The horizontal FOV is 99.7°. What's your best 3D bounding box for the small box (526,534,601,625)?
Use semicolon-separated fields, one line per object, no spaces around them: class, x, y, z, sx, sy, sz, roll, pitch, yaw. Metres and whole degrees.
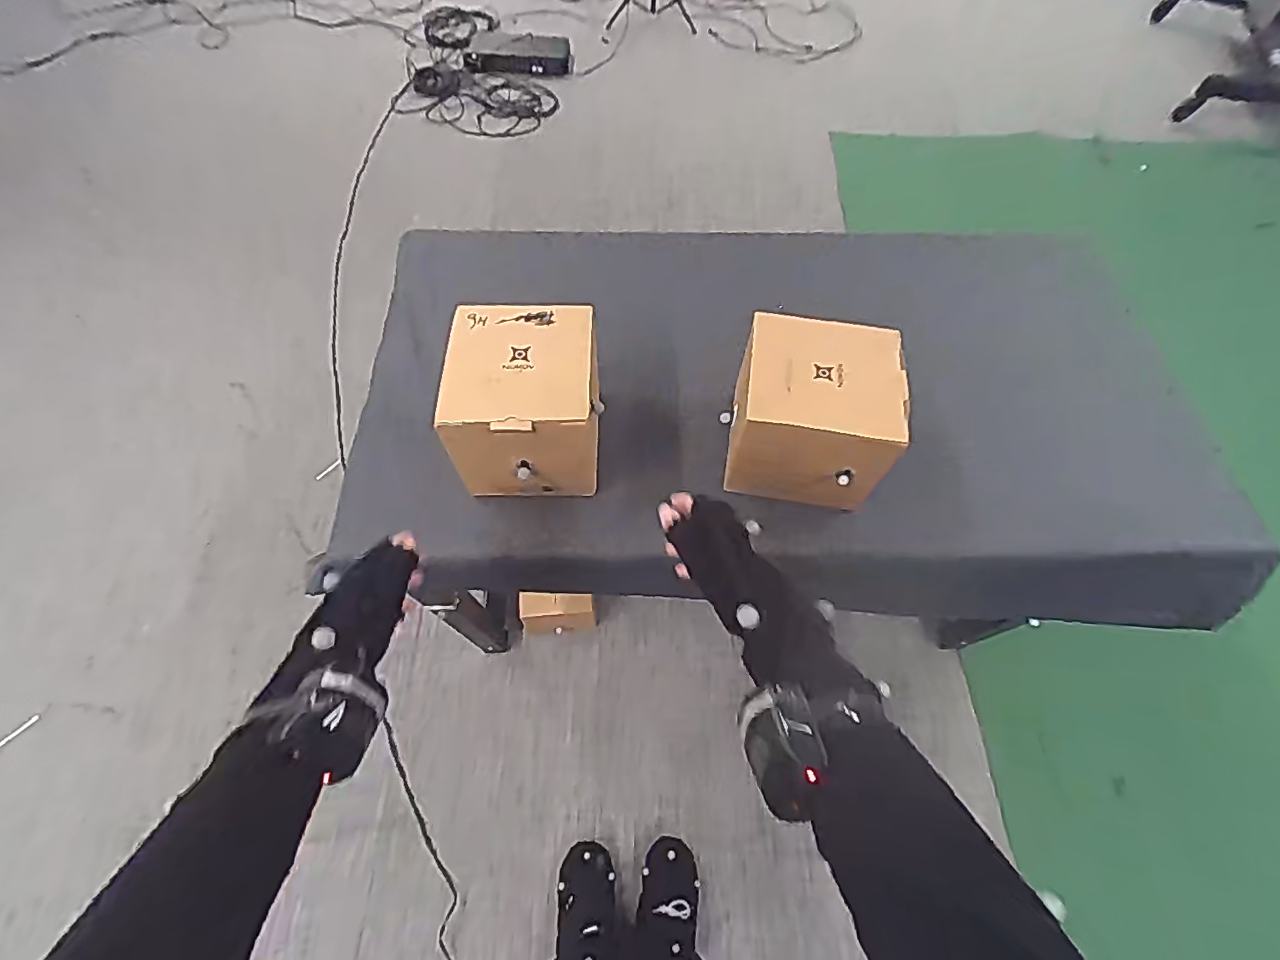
small box;-0.184;0.247;1.330;0.168;0.176;0.179;-4;64;-2

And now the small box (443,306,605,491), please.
small box;-0.131;-0.096;0.685;0.168;0.176;0.179;0;62;-1

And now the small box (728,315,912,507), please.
small box;0.217;-0.079;0.685;0.179;0.176;0.168;8;62;5
